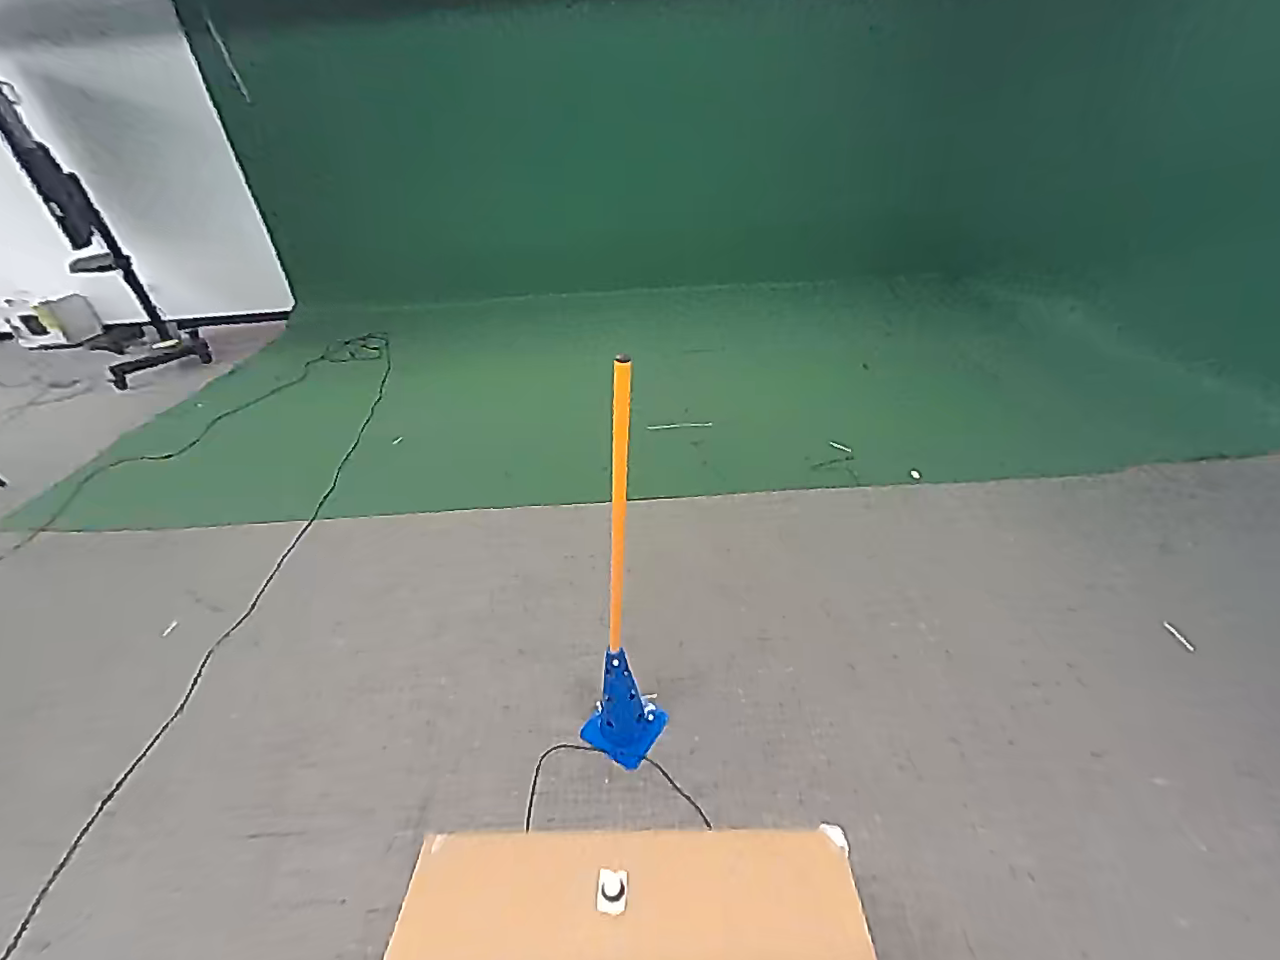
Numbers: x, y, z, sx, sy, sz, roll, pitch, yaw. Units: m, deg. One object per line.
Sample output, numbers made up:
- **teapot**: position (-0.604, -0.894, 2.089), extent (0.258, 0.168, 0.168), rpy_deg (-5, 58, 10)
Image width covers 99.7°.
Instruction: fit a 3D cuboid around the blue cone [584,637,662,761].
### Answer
- **blue cone**: position (-0.055, 0.563, 1.475), extent (0.192, 0.380, 0.193), rpy_deg (18, 39, 27)
